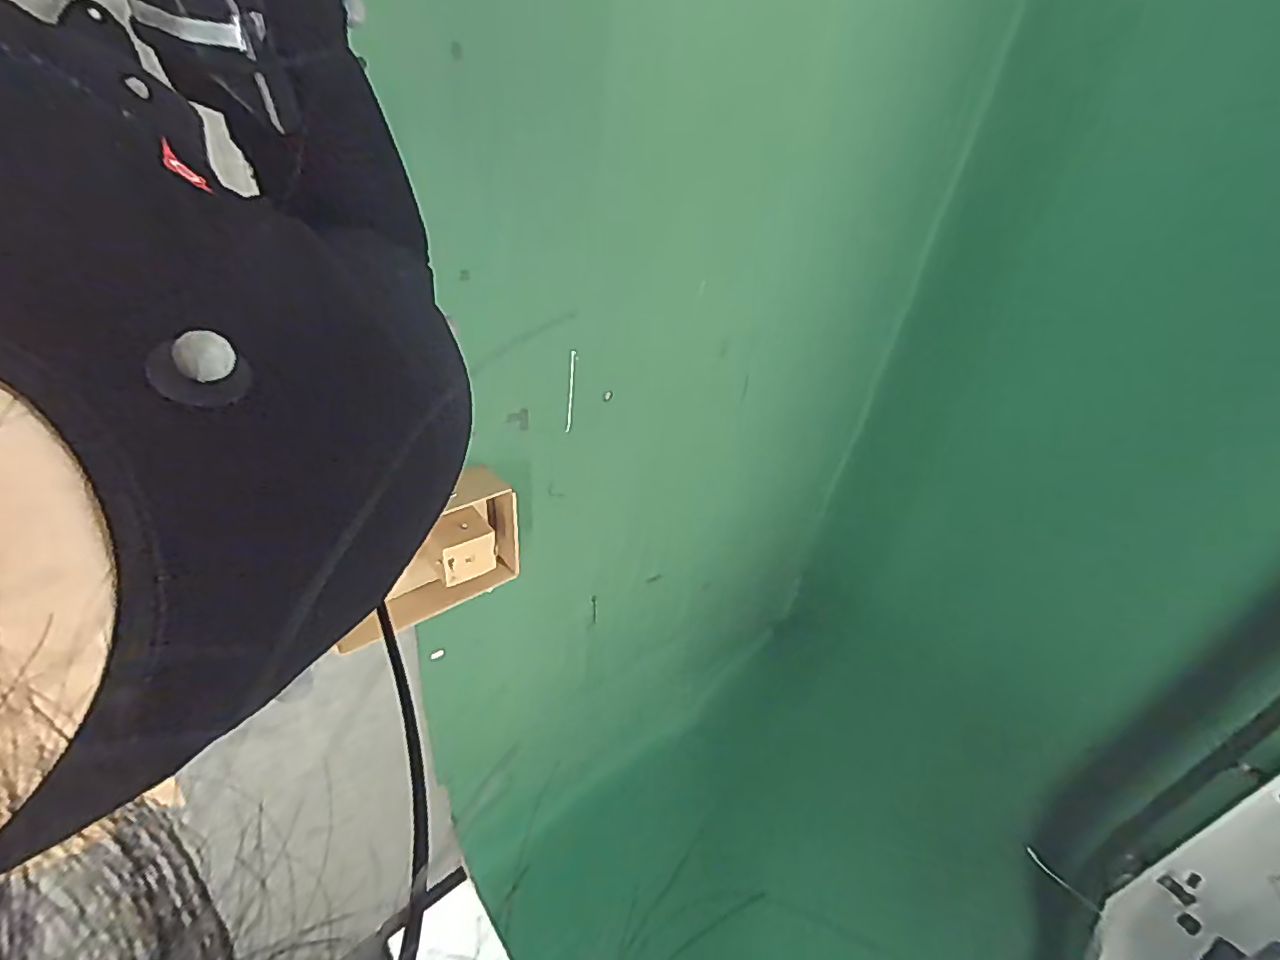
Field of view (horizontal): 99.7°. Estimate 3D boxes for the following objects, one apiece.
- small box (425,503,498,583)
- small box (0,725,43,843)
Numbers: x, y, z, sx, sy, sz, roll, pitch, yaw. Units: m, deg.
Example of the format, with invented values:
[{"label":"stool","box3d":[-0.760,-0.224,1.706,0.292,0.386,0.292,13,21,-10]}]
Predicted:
[{"label":"small box","box3d":[-0.586,0.201,1.780,0.179,0.176,0.168,-20,134,-35]},{"label":"small box","box3d":[-1.357,0.635,1.088,0.168,0.176,0.179,-23,134,-37]}]
